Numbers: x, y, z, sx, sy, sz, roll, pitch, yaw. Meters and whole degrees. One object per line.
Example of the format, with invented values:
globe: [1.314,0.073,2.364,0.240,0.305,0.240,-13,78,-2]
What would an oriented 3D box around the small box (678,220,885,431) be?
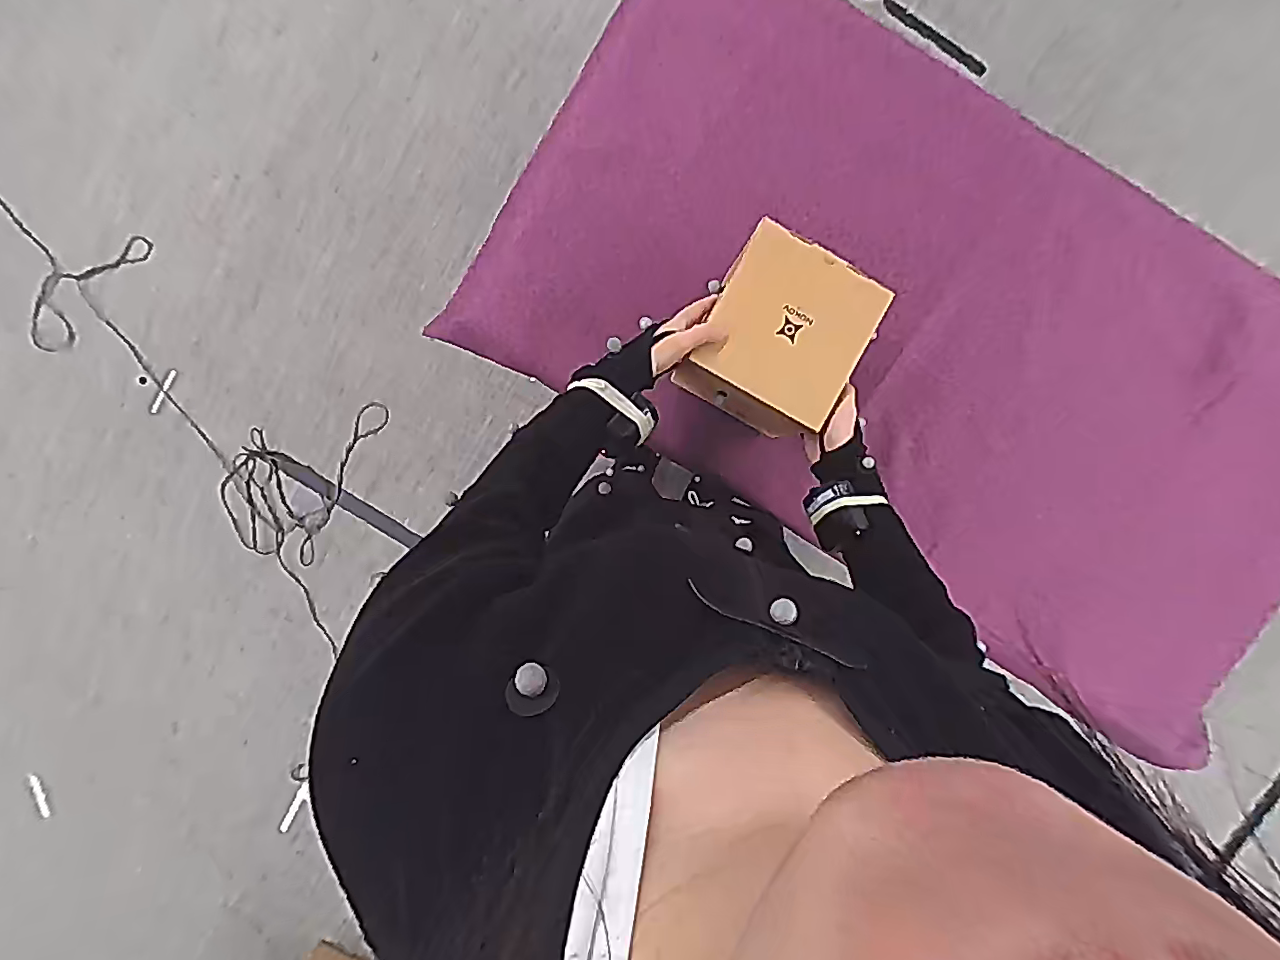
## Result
small box: [0.157,-0.172,0.671,0.168,0.176,0.179,28,90,-3]
